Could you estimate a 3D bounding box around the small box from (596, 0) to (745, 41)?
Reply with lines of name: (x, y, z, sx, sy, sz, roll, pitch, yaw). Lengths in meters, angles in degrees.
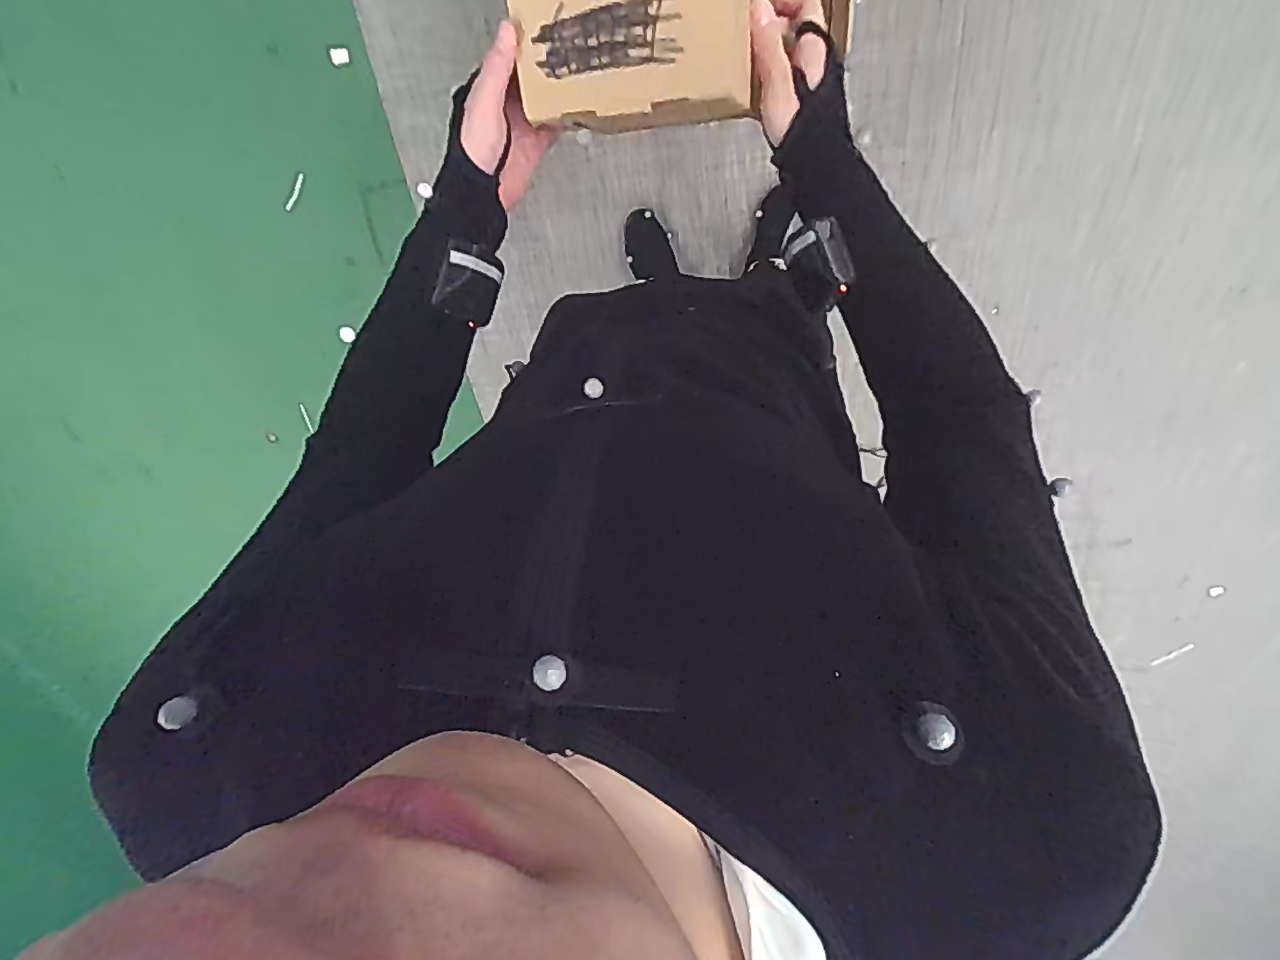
small box: (0.044, -0.634, 0.629, 0.168, 0.176, 0.179, 4, 119, 7)
